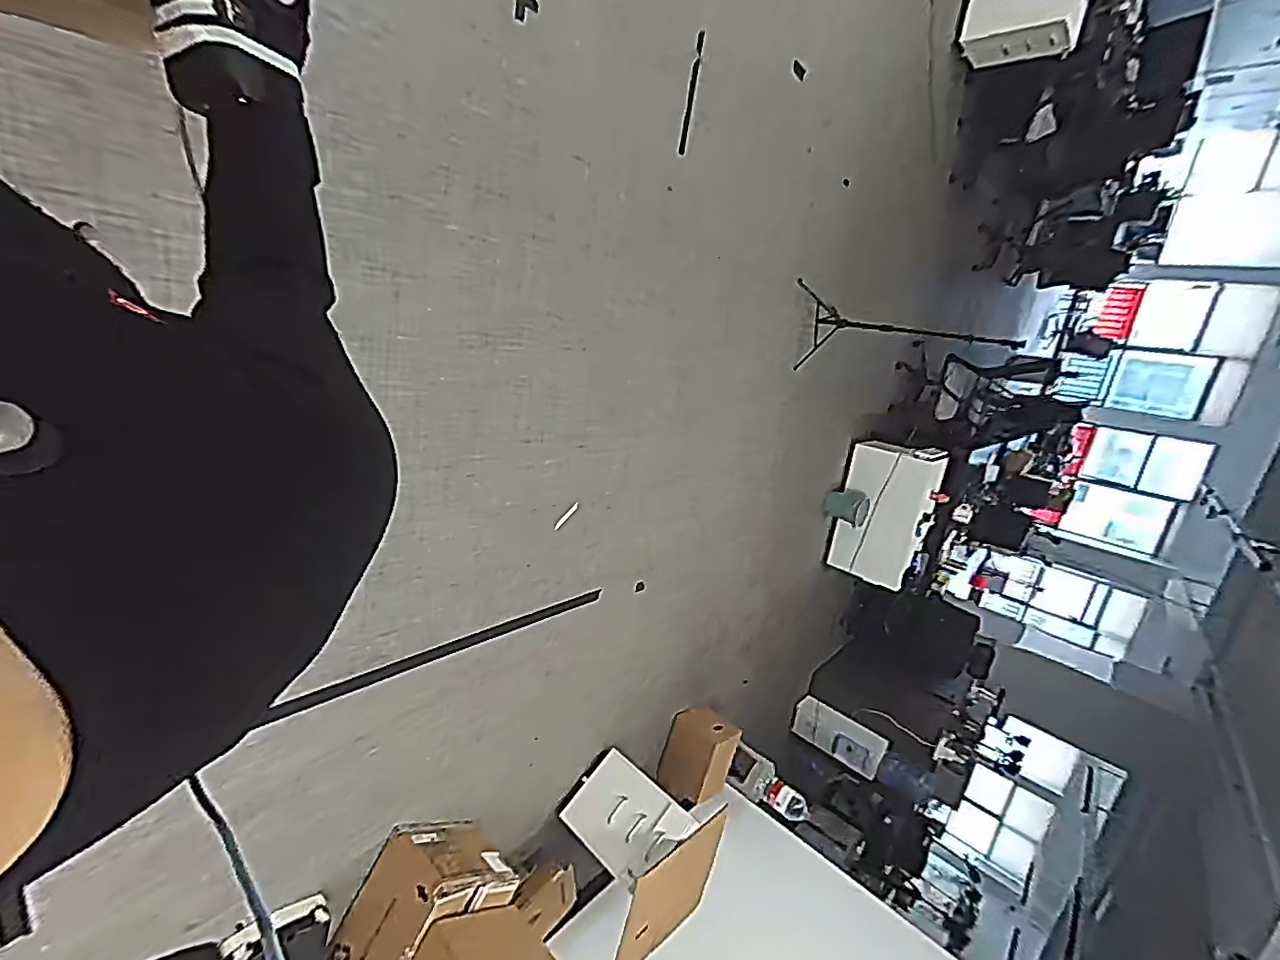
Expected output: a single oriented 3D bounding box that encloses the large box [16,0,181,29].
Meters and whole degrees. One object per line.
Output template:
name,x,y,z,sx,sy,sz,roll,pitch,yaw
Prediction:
large box,-0.527,-0.494,0.268,0.408,0.320,0.320,-18,127,-45
